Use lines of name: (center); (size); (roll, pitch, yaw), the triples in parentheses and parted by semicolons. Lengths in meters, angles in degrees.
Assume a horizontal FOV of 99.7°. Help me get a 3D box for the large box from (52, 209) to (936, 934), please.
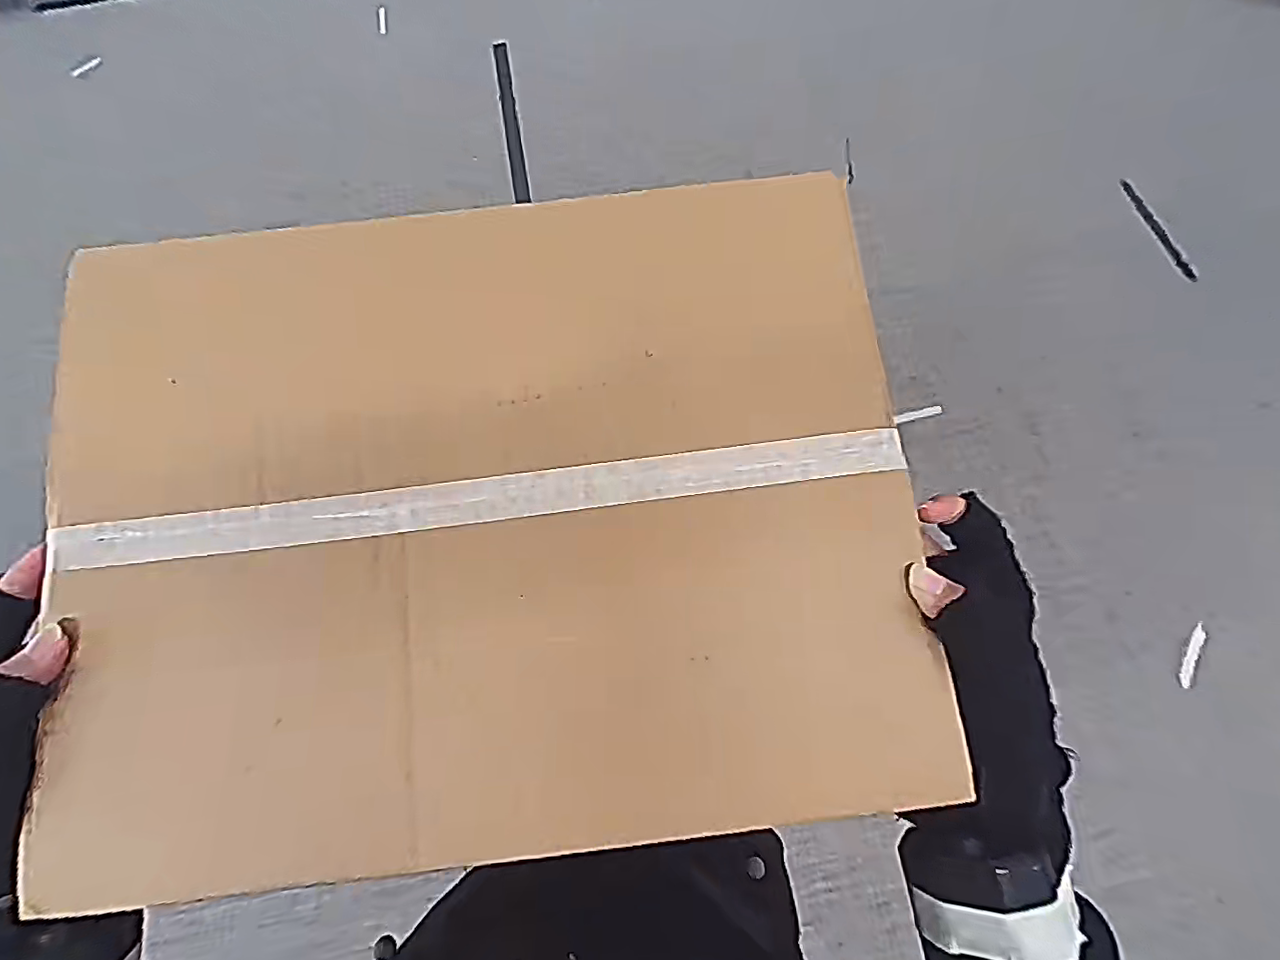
large box: (-0.078, 0.051, 0.414); (0.408, 0.320, 0.320); (-7, 78, -1)
